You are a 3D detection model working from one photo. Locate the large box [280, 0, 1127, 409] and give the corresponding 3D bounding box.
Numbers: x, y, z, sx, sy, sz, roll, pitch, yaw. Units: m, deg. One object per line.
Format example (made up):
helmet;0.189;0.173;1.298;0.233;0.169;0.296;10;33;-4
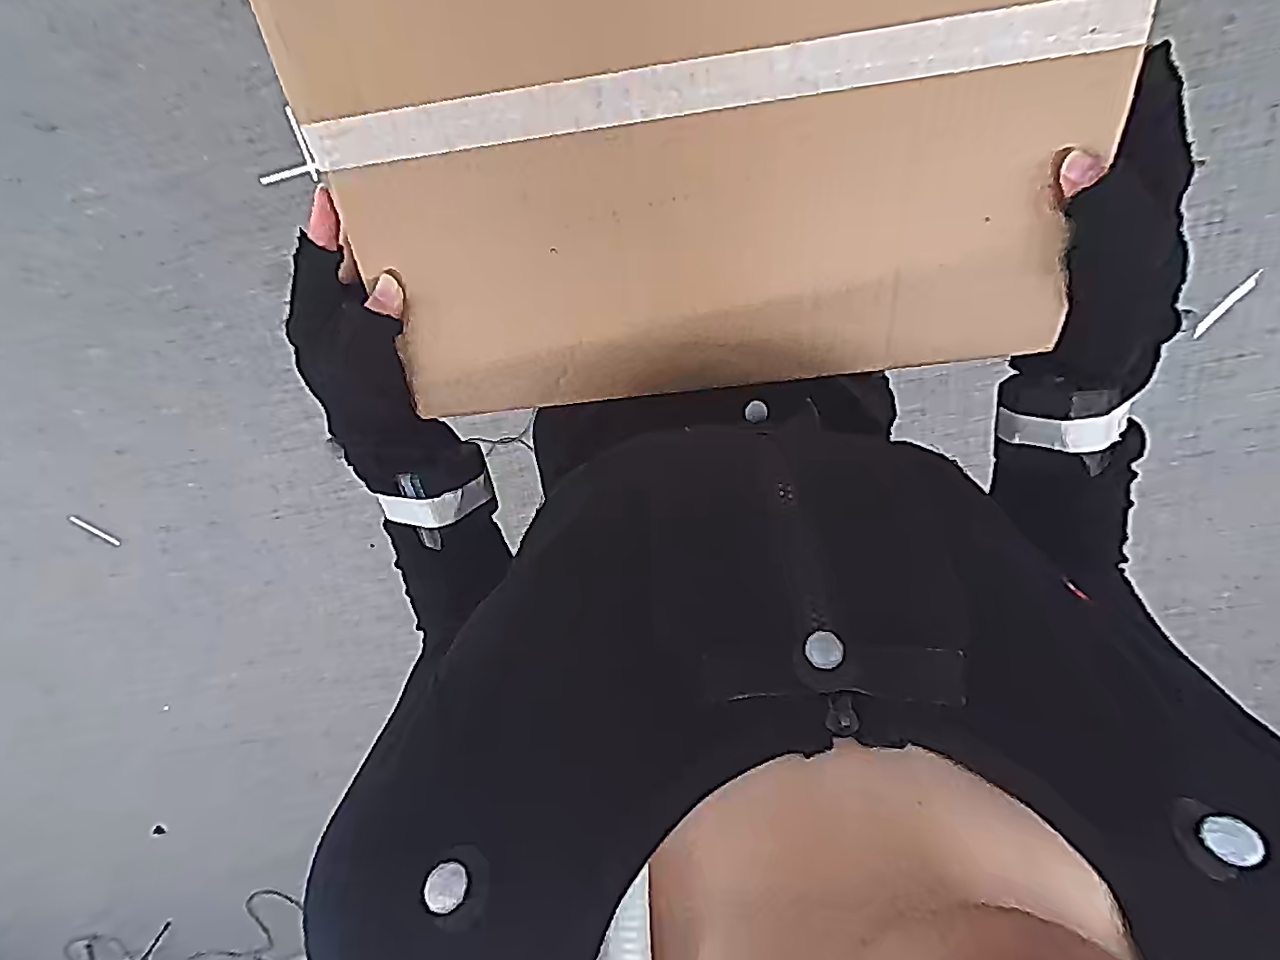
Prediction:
large box;0.033;-0.275;0.401;0.408;0.320;0.320;-6;123;5
